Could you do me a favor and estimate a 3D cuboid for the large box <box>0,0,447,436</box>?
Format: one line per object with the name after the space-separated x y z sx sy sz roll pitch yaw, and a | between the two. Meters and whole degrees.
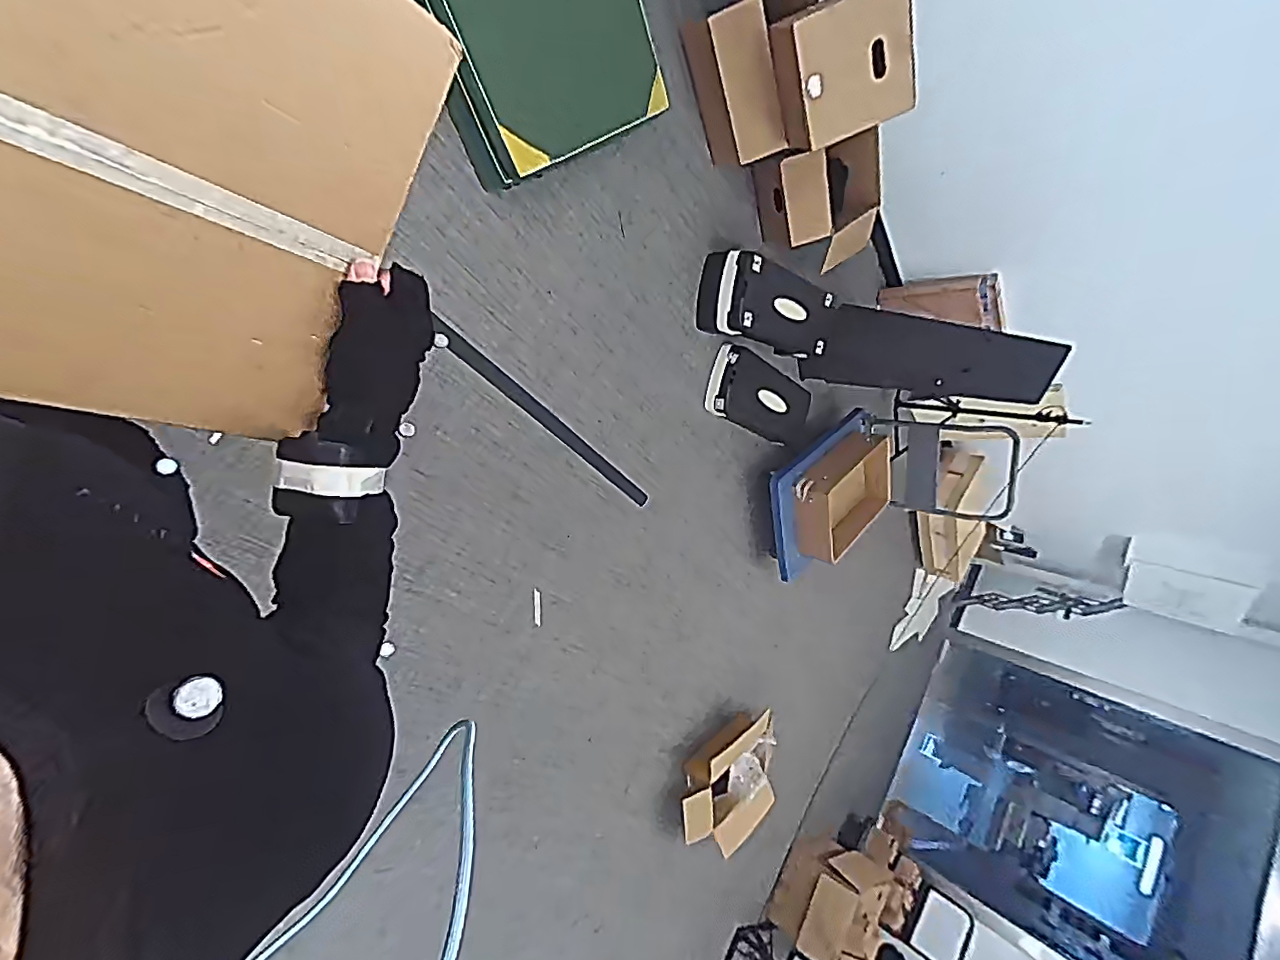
-0.412 -0.265 0.339 0.408 0.320 0.320 11 120 -47 | large box
